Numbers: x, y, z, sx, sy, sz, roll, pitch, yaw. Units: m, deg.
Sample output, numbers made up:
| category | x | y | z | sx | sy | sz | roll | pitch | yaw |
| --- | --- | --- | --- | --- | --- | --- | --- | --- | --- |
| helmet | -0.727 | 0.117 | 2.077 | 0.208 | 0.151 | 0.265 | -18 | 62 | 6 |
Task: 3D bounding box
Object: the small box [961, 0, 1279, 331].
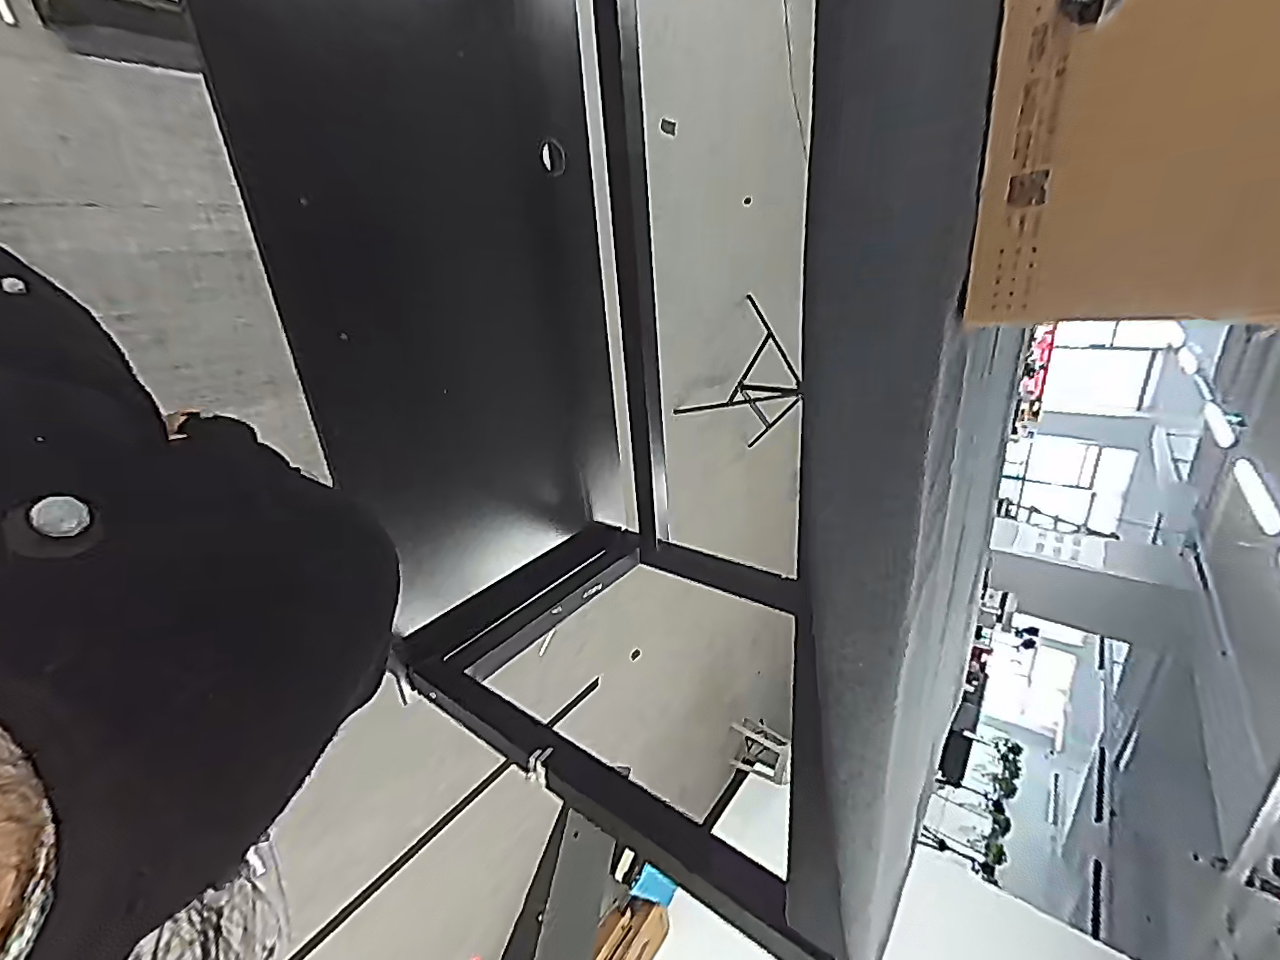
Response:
| category | x | y | z | sx | sy | sz | roll | pitch | yaw |
| --- | --- | --- | --- | --- | --- | --- | --- | --- | --- |
| small box | 0.278 | -0.170 | 0.279 | 0.179 | 0.176 | 0.168 | -30 | 123 | -49 |
